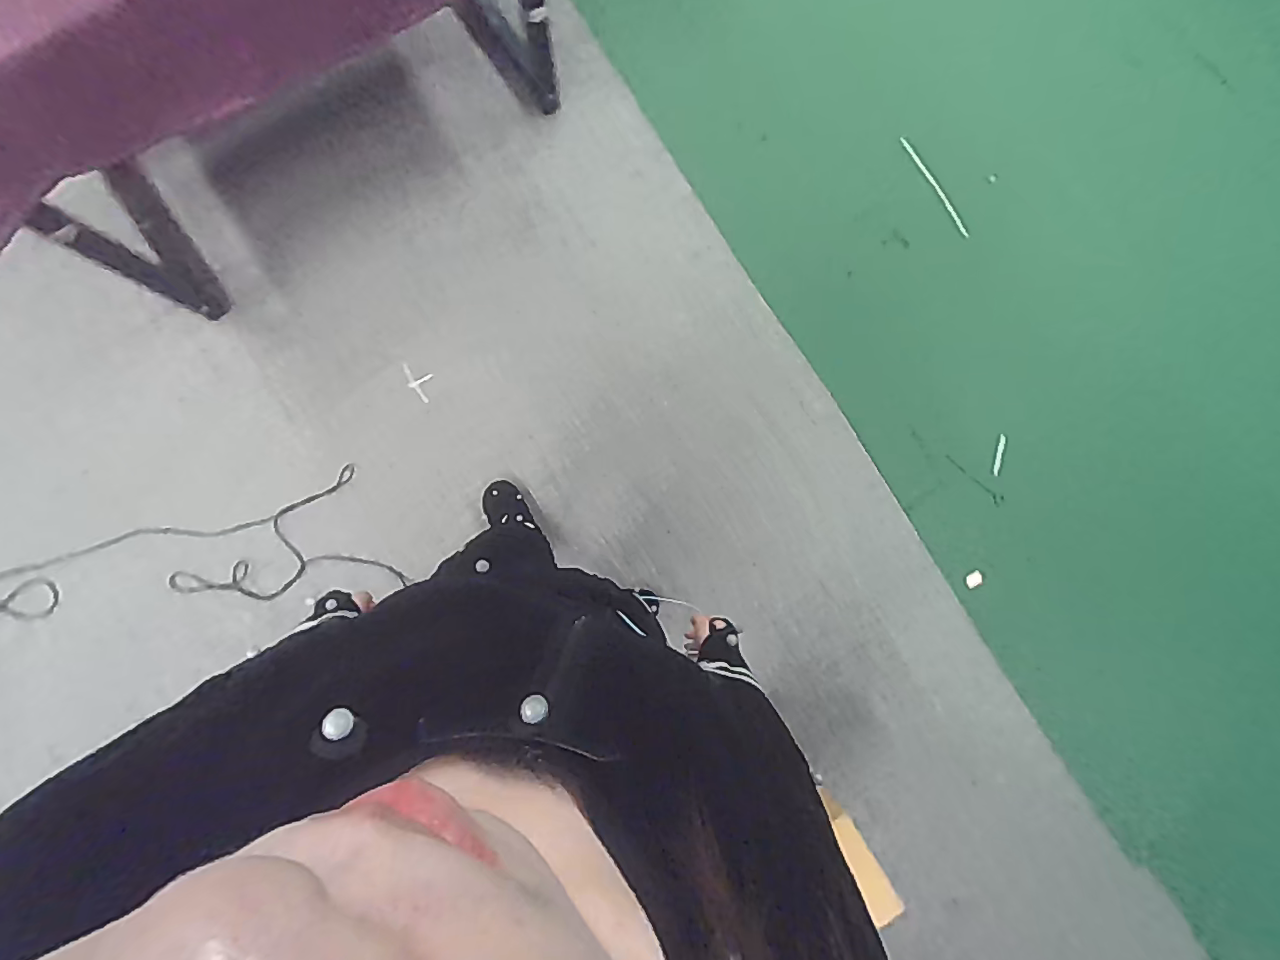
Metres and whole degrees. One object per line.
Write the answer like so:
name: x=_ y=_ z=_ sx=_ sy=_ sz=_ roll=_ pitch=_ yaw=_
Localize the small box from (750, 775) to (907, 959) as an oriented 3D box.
small box: x=0.317 y=0.666 z=0.946 sx=0.168 sy=0.176 sz=0.179 roll=-31 pitch=85 yaw=-4
